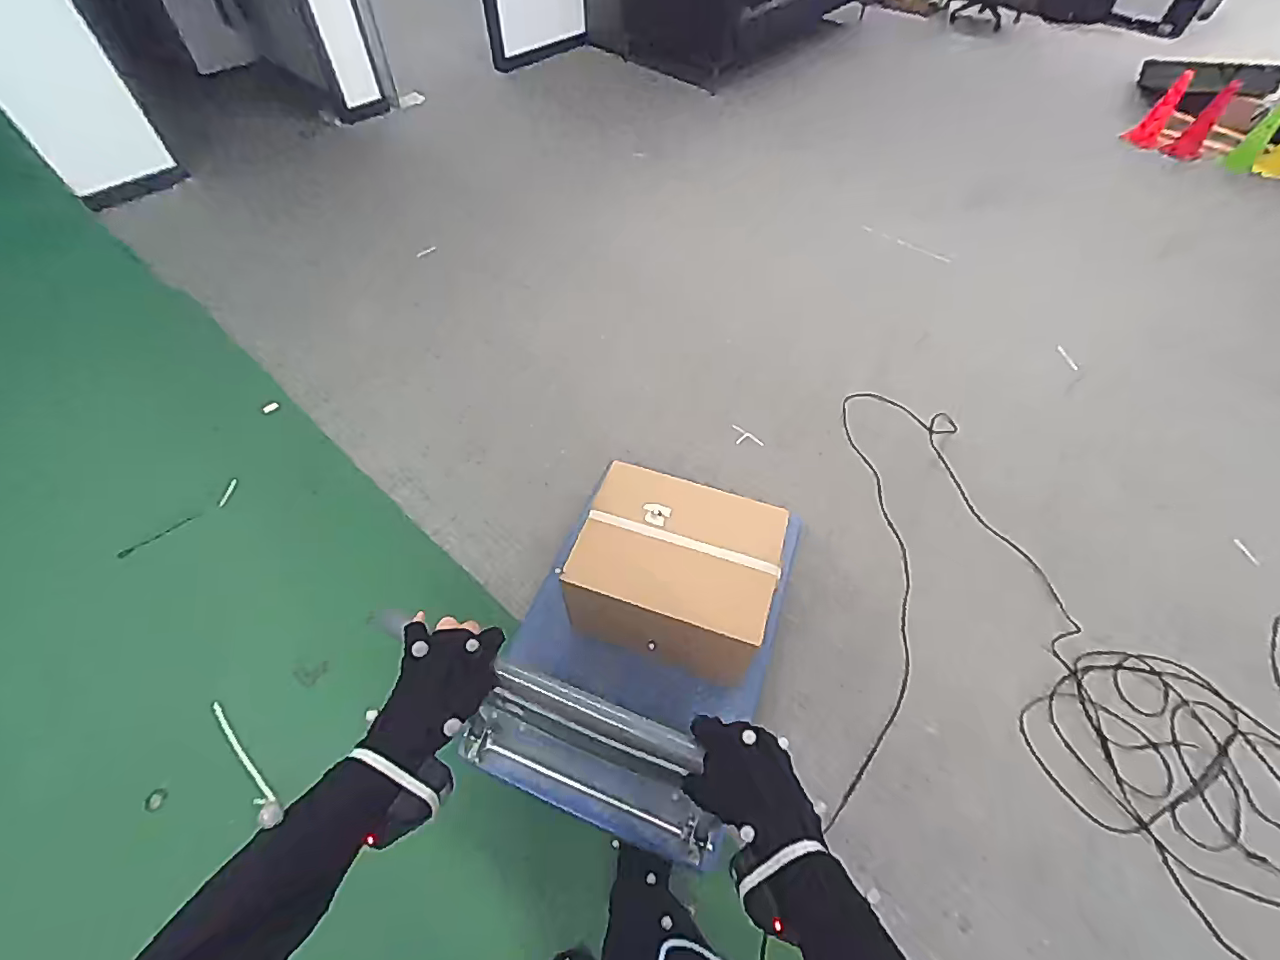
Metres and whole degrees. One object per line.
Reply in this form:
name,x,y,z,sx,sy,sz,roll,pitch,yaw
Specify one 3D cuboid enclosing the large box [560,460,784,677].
large box,0.076,0.206,1.232,0.408,0.320,0.320,16,56,10
